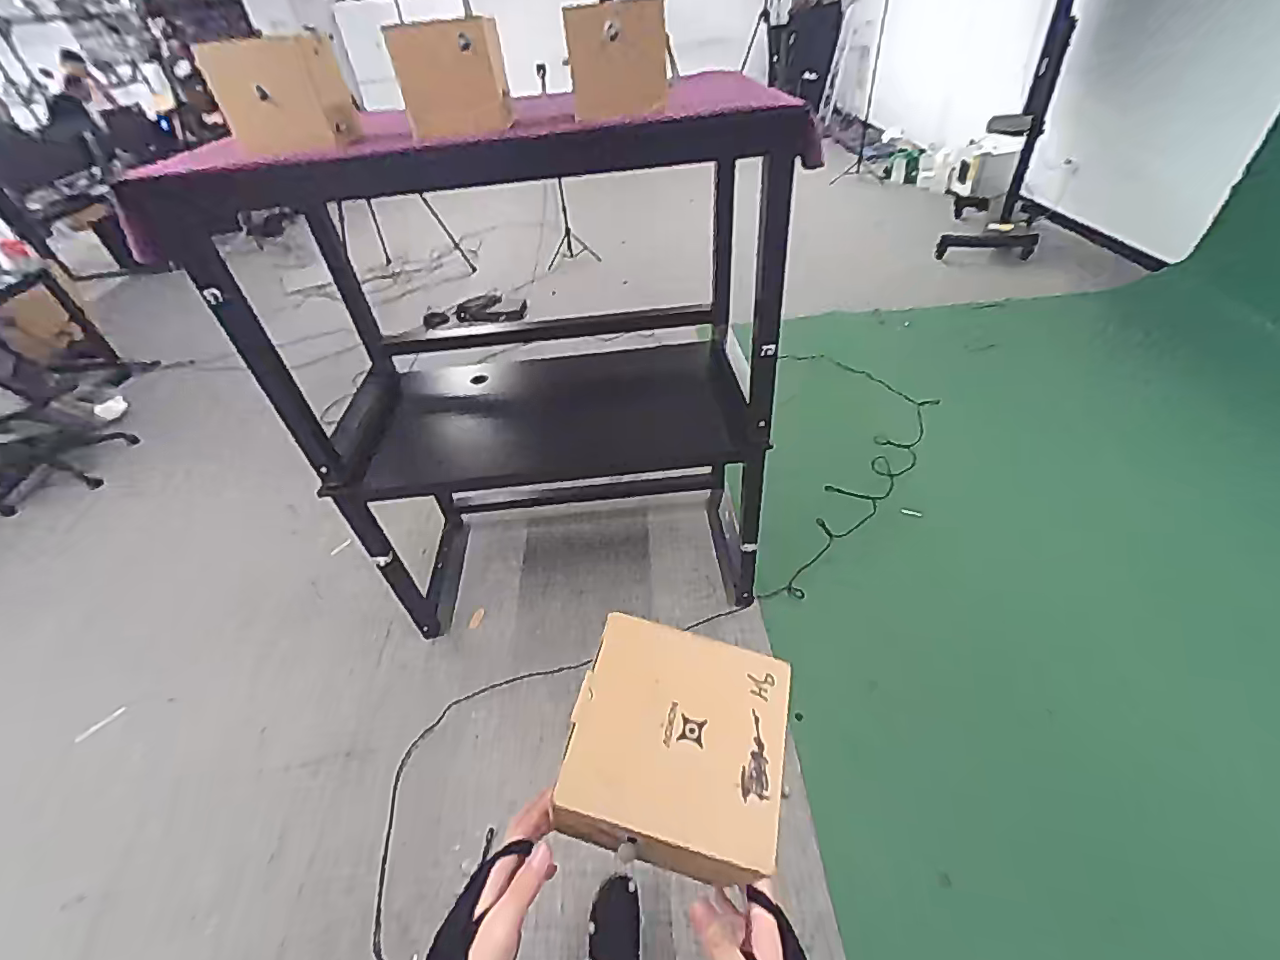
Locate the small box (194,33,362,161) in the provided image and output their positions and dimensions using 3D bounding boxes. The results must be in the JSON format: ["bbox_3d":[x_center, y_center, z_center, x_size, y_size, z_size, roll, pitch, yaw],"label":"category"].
[{"bbox_3d":[-0.651,-0.711,1.004,0.179,0.176,0.168,-8,41,-1],"label":"small box"}]

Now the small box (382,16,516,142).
[{"bbox_3d":[-0.344,-0.747,1.011,0.179,0.176,0.168,-6,41,0],"label":"small box"}]

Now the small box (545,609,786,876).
[{"bbox_3d":[0.023,0.253,0.513,0.179,0.176,0.168,15,50,5],"label":"small box"}]

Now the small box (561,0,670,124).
[{"bbox_3d":[-0.039,-0.775,1.003,0.179,0.176,0.168,-4,41,3],"label":"small box"}]
